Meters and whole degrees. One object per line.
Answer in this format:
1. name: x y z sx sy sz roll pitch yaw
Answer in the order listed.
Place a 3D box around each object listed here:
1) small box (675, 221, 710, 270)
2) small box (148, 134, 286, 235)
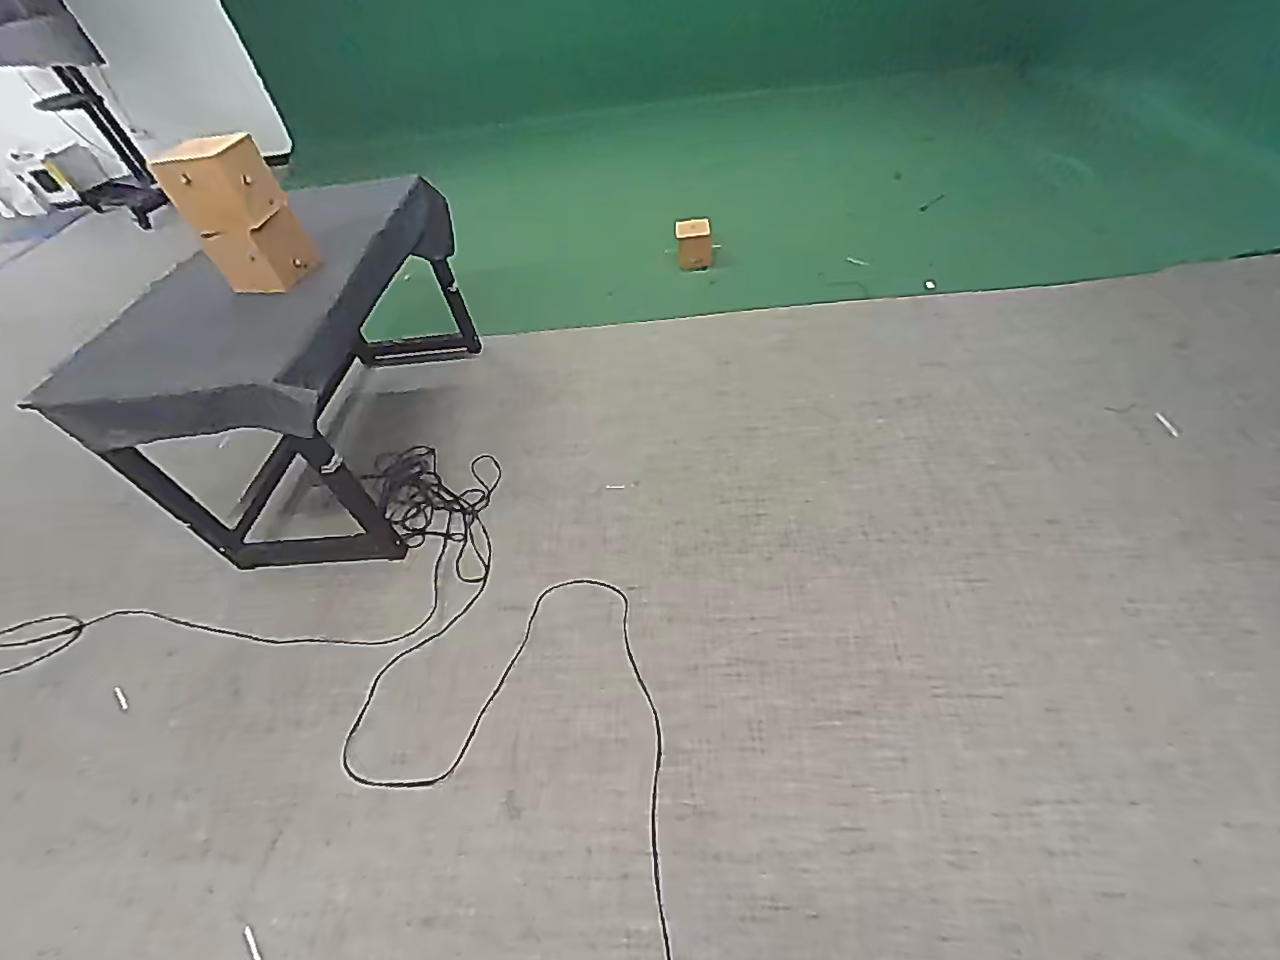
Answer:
1. small box: 0.266 -1.190 2.748 0.168 0.176 0.179 -5 49 6
2. small box: -1.033 -0.731 1.344 0.179 0.176 0.168 -2 49 7
